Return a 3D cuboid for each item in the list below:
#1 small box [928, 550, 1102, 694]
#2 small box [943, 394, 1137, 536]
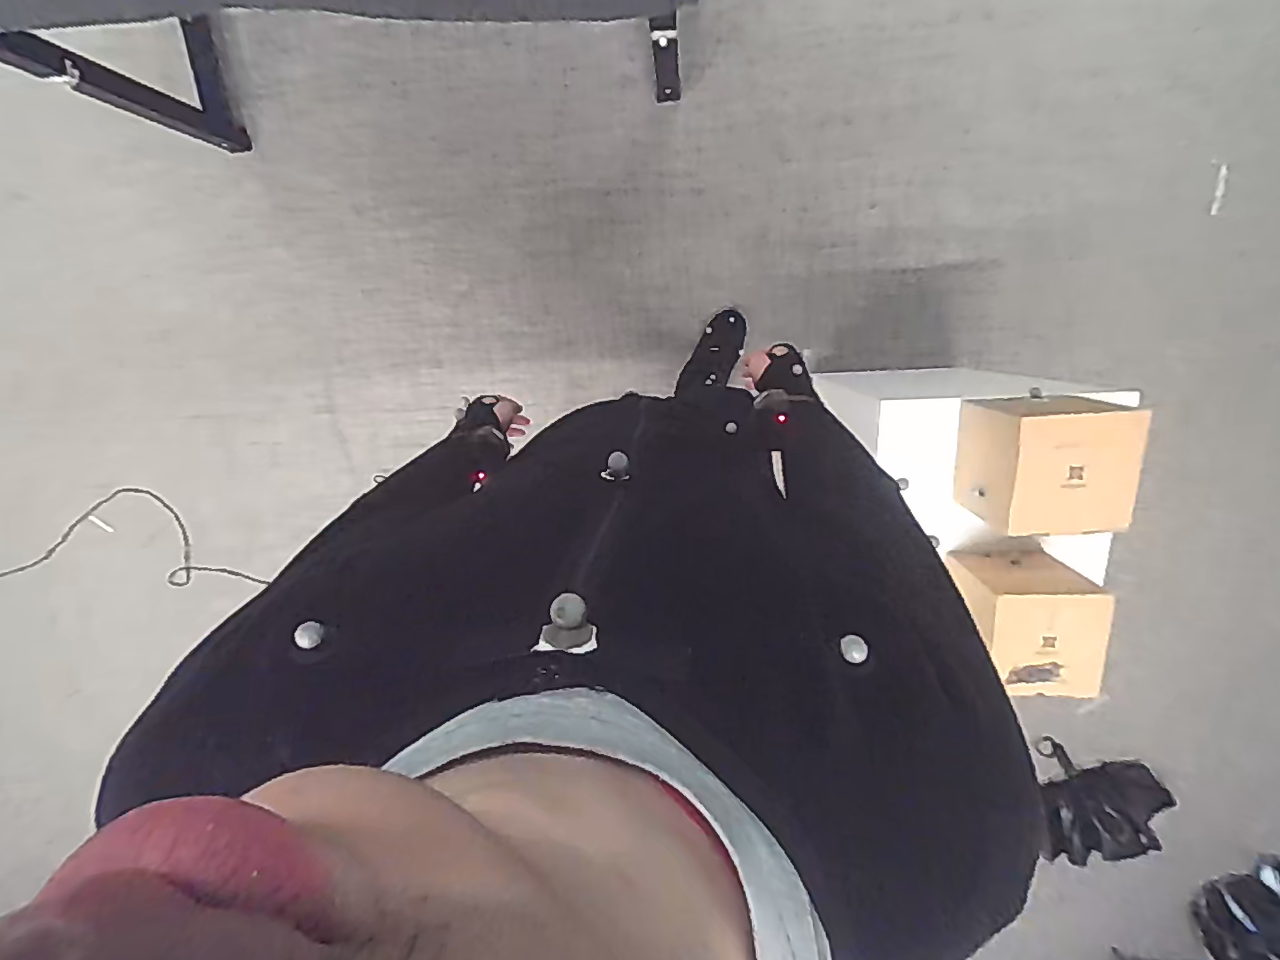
[{"bbox_3d":[0.599,0.227,0.891,0.168,0.176,0.179,-2,104,3],"label":"small box"},{"bbox_3d":[0.587,-0.029,0.822,0.168,0.176,0.179,-4,105,3],"label":"small box"}]
